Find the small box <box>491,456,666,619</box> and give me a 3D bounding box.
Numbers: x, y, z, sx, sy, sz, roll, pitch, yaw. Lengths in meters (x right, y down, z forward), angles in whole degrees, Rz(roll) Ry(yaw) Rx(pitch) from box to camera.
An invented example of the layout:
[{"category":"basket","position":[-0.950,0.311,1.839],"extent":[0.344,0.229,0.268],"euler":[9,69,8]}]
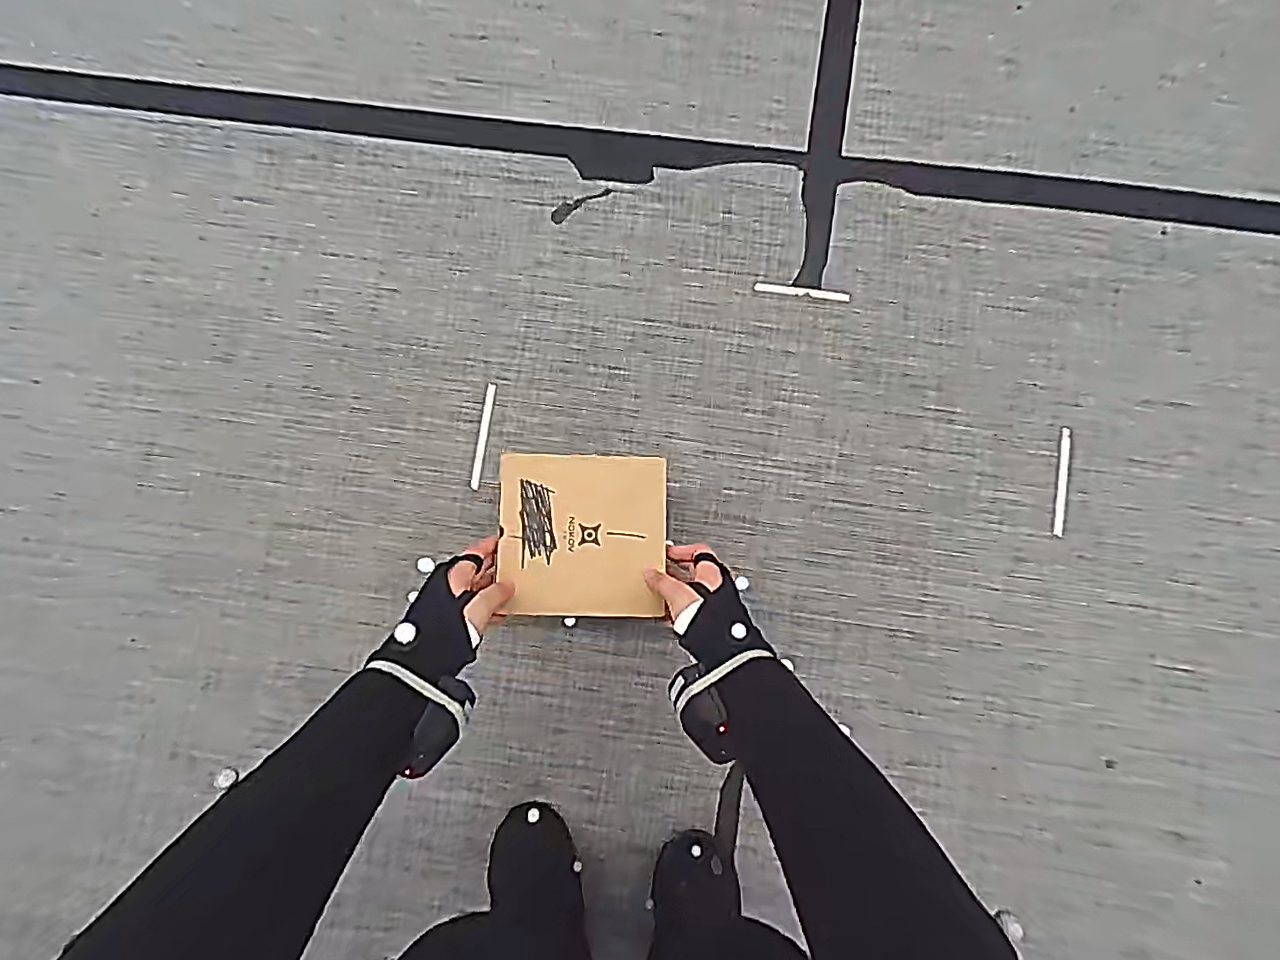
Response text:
[{"category":"small box","position":[-0.063,0.072,0.637],"extent":[0.179,0.176,0.168],"euler":[2,80,-2]}]
